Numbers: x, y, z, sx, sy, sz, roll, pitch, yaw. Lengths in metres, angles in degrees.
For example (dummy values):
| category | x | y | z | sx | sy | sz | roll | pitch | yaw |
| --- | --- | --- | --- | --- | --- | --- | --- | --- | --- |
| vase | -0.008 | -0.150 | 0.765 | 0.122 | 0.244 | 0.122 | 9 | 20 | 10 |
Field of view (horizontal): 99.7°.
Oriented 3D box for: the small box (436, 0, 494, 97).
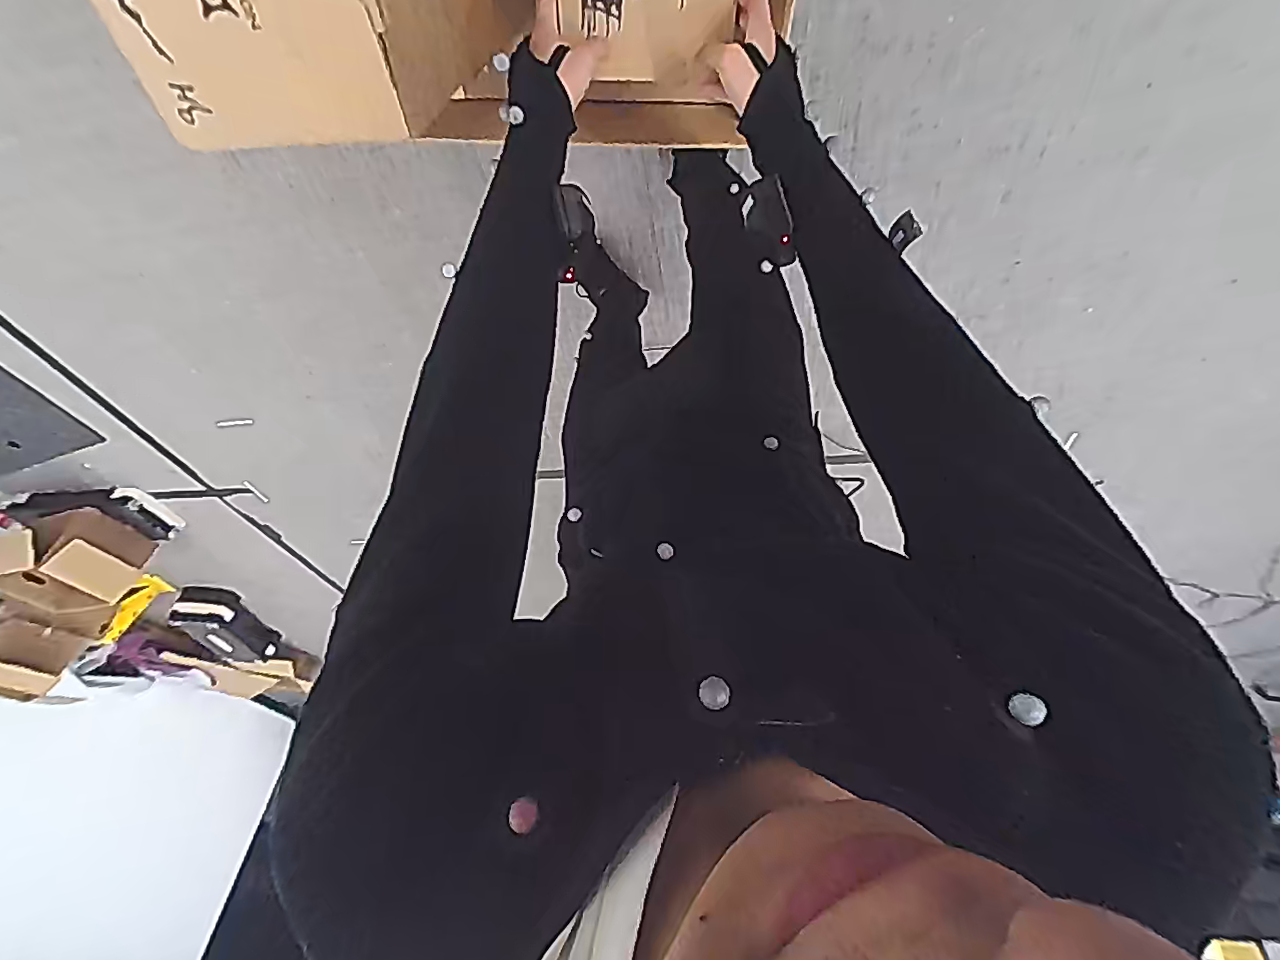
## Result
| category | x | y | z | sx | sy | sz | roll | pitch | yaw |
| --- | --- | --- | --- | --- | --- | --- | --- | --- | --- |
| small box | -0.244 | -0.477 | 0.493 | 0.168 | 0.176 | 0.179 | 0 | 139 | 2 |

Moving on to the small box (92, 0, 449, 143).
| category | x | y | z | sx | sy | sz | roll | pitch | yaw |
| --- | --- | --- | --- | --- | --- | --- | --- | --- | --- |
| small box | -0.249 | -0.359 | 0.380 | 0.179 | 0.176 | 0.168 | -1 | 139 | 2 |
